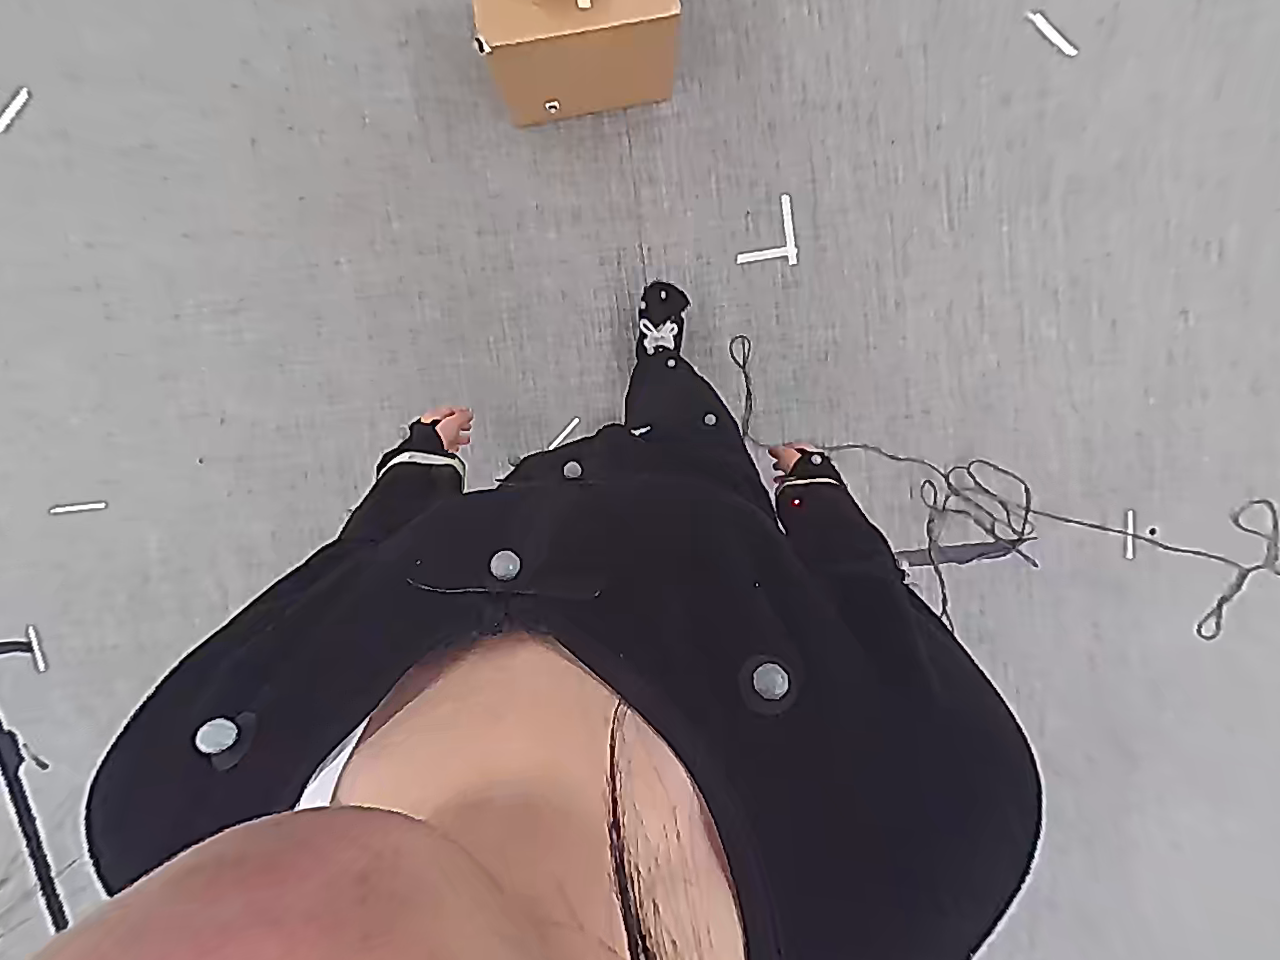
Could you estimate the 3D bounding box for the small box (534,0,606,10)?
[{"bbox_3d":[-0.140,-1.006,0.969,0.168,0.176,0.179,-9,99,1],"label":"small box"}]
